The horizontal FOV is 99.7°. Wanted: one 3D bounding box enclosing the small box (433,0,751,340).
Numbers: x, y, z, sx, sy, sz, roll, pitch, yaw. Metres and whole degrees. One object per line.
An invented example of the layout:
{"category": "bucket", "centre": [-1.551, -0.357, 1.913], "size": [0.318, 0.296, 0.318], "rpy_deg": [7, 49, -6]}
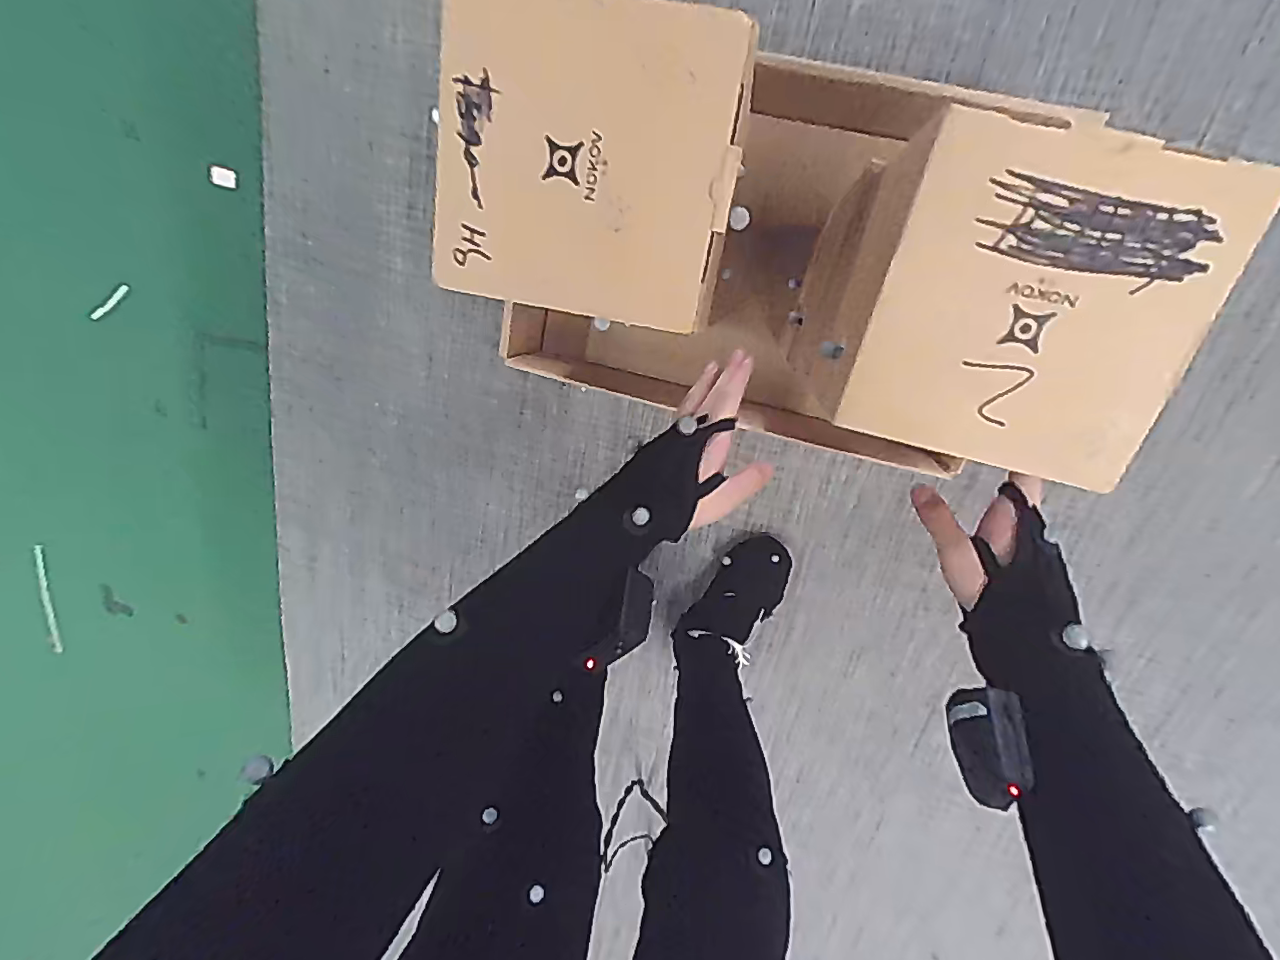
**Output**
{"category": "small box", "centre": [-0.026, -0.206, 0.396], "size": [0.179, 0.176, 0.168], "rpy_deg": [12, 109, 5]}

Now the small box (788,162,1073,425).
{"category": "small box", "centre": [0.251, -0.174, 0.525], "size": [0.168, 0.176, 0.179], "rpy_deg": [18, 110, 5]}
